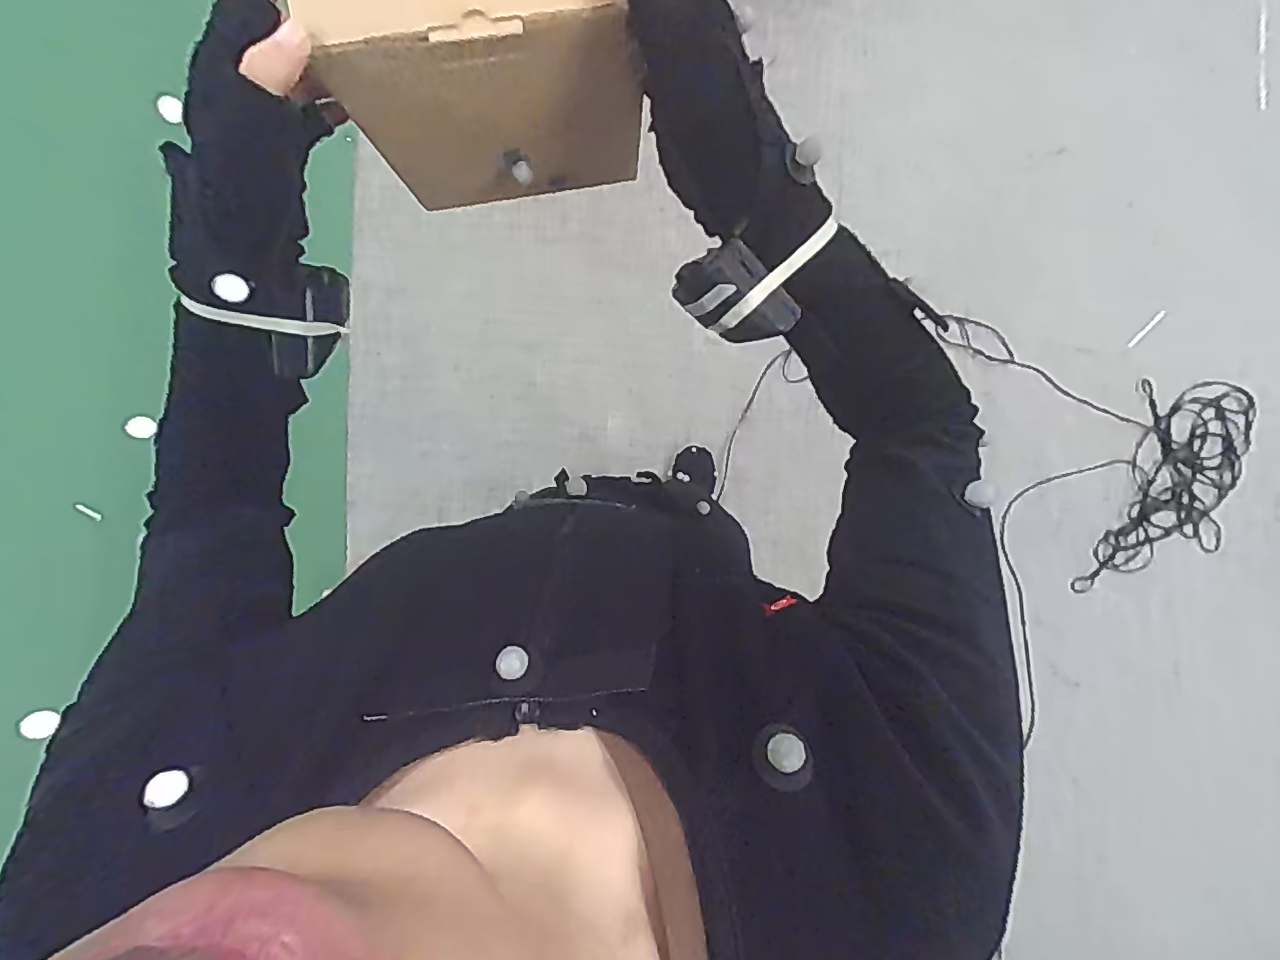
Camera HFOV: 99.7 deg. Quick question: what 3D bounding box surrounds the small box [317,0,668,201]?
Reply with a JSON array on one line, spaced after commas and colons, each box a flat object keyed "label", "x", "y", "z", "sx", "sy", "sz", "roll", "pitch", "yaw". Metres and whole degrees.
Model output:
[{"label": "small box", "x": -0.081, "y": -0.305, "z": 0.330, "sx": 0.168, "sy": 0.176, "sz": 0.179, "roll": -9, "pitch": 92, "yaw": -1}]
